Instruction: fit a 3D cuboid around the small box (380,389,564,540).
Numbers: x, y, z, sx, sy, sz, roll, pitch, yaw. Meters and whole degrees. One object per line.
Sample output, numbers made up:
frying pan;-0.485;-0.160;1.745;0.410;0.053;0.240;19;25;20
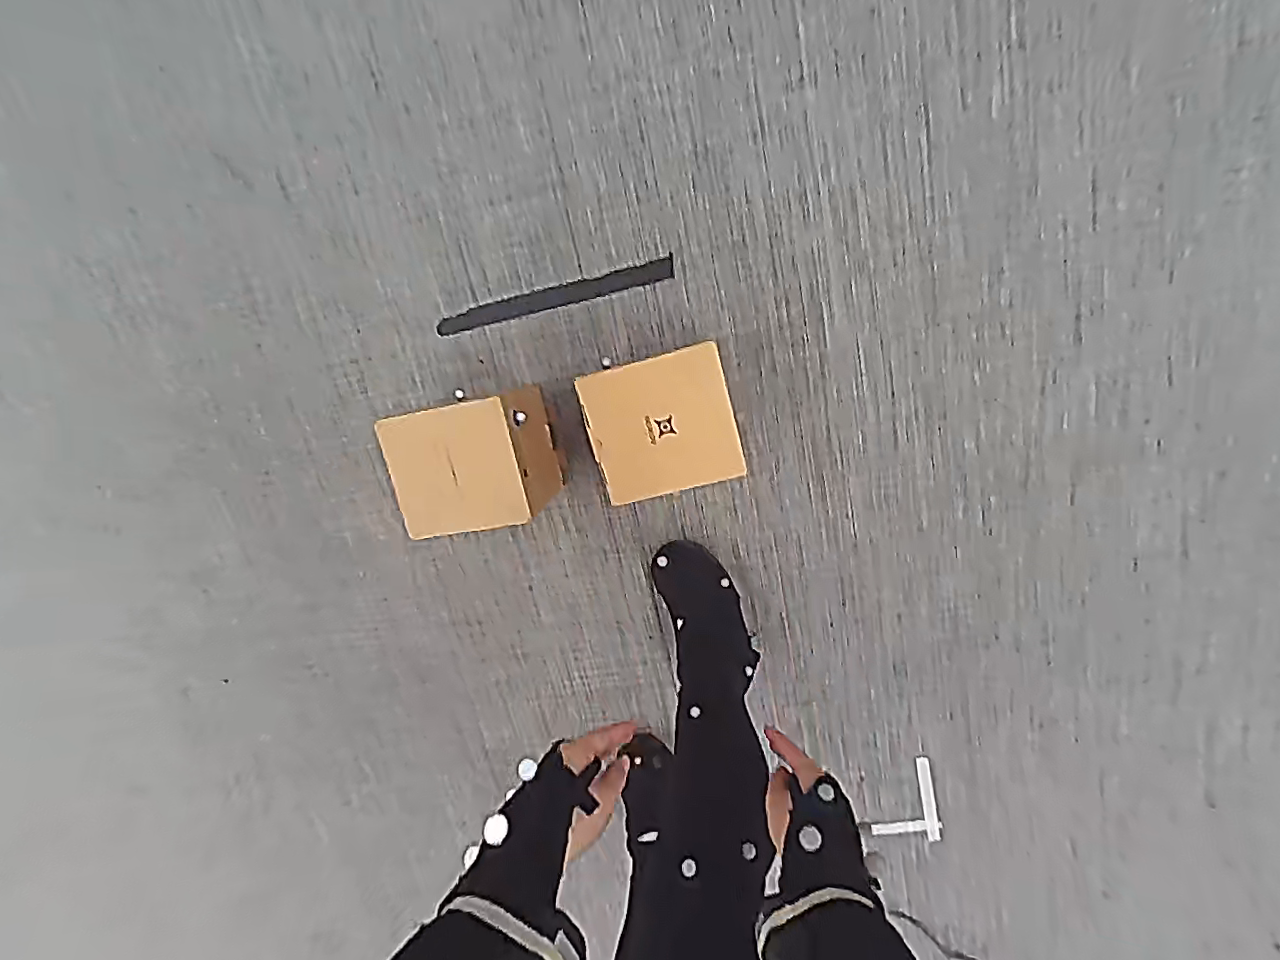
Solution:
small box;-0.227;-0.026;0.770;0.179;0.176;0.168;-9;103;8

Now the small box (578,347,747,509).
small box;0.036;-0.079;0.731;0.179;0.176;0.168;-14;103;11
